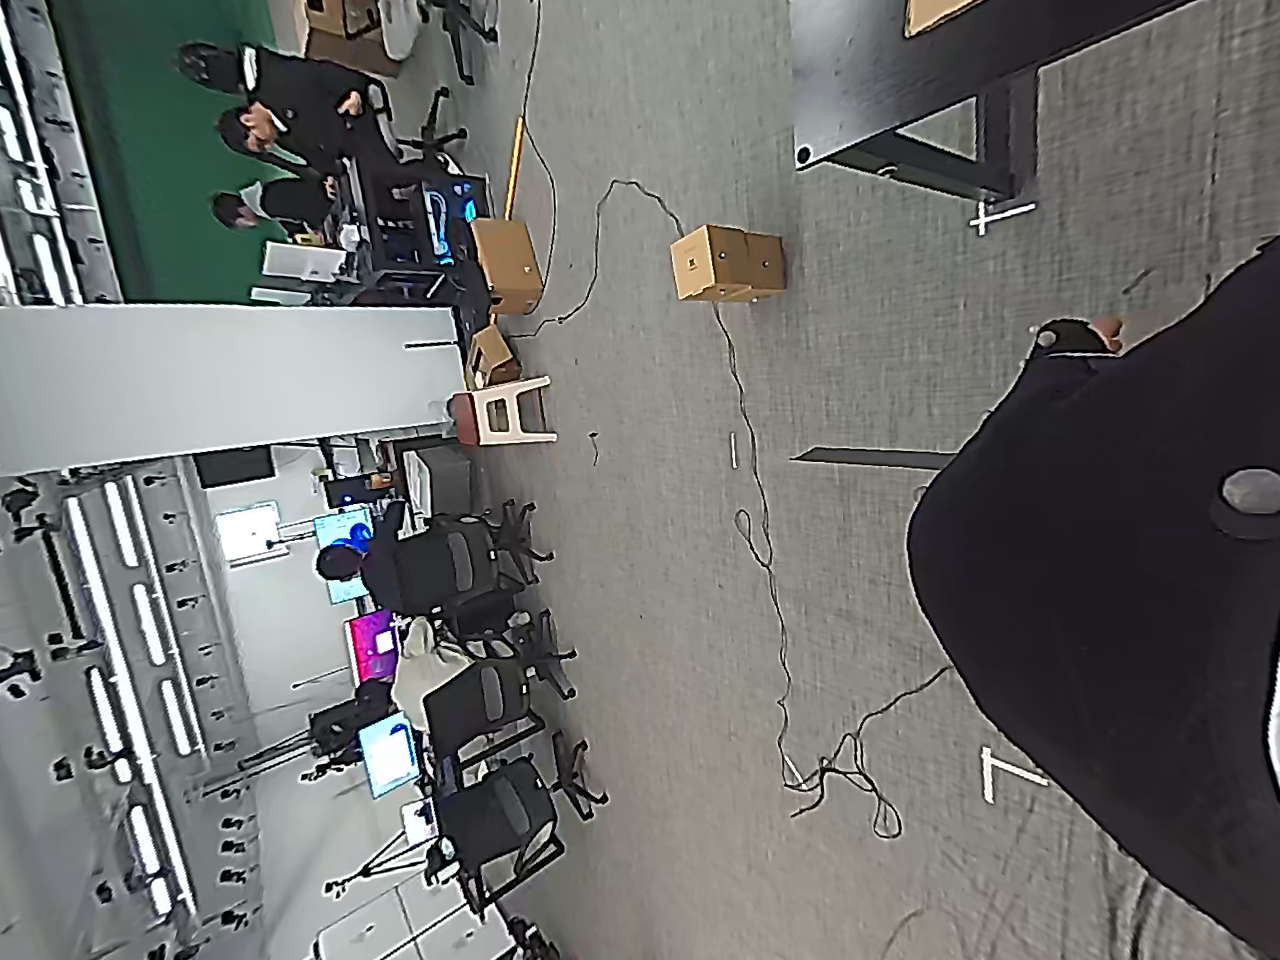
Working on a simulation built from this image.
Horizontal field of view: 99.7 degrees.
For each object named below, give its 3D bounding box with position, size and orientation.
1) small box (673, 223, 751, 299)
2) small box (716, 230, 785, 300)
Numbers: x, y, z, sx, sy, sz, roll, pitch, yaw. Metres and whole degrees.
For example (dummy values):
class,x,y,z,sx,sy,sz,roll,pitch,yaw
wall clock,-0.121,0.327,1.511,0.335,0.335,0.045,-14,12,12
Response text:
class,x,y,z,sx,sy,sz,roll,pitch,yaw
small box,0.228,-0.675,1.684,0.168,0.176,0.179,-3,98,53
small box,0.357,-0.700,1.780,0.168,0.176,0.179,1,103,53
